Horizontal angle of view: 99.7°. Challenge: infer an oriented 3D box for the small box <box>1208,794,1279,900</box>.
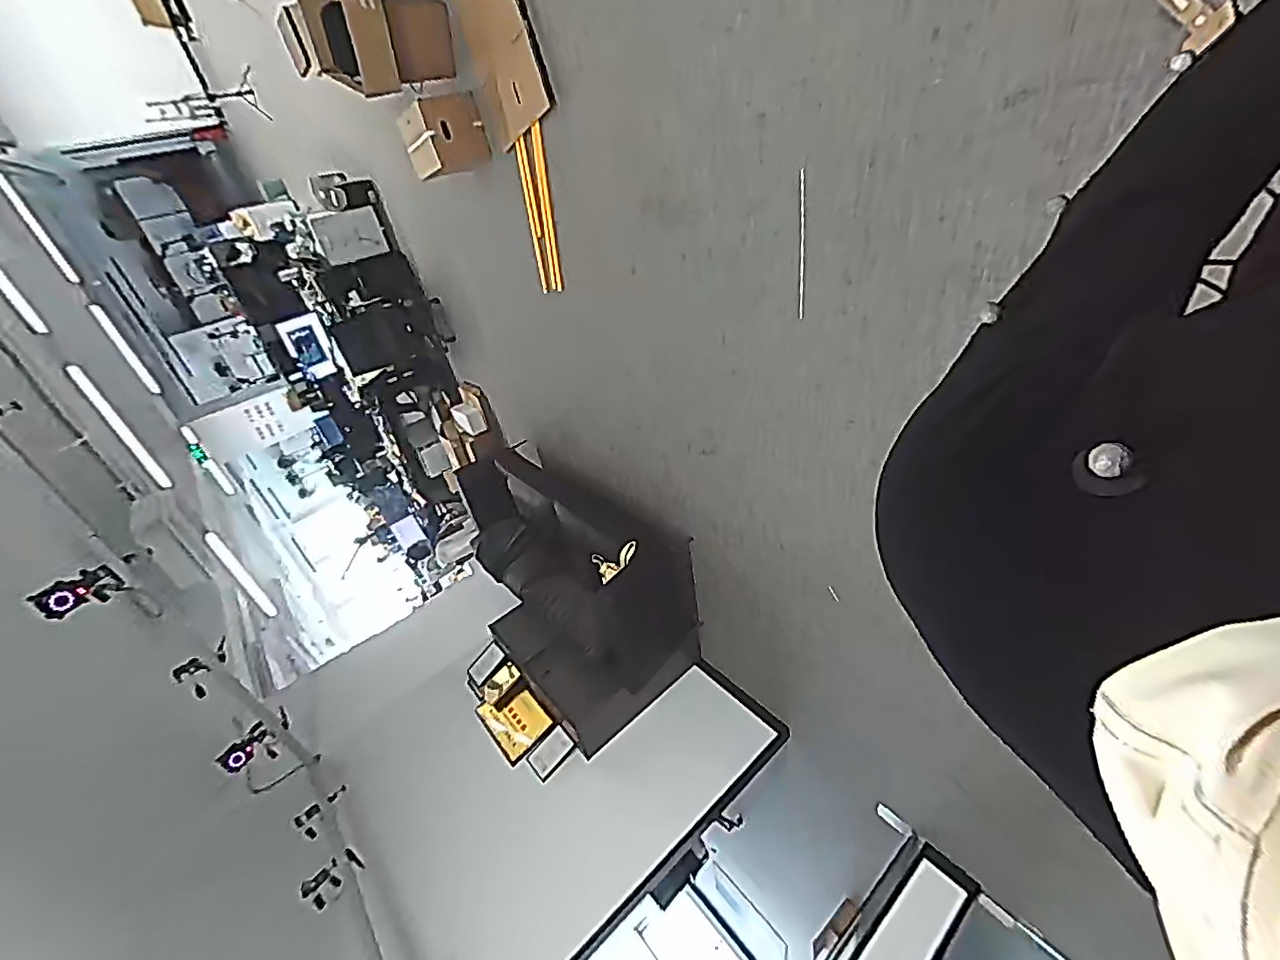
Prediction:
[{"bbox_3d":[1.729,1.001,1.479,0.179,0.176,0.168,30,142,42],"label":"small box"}]
